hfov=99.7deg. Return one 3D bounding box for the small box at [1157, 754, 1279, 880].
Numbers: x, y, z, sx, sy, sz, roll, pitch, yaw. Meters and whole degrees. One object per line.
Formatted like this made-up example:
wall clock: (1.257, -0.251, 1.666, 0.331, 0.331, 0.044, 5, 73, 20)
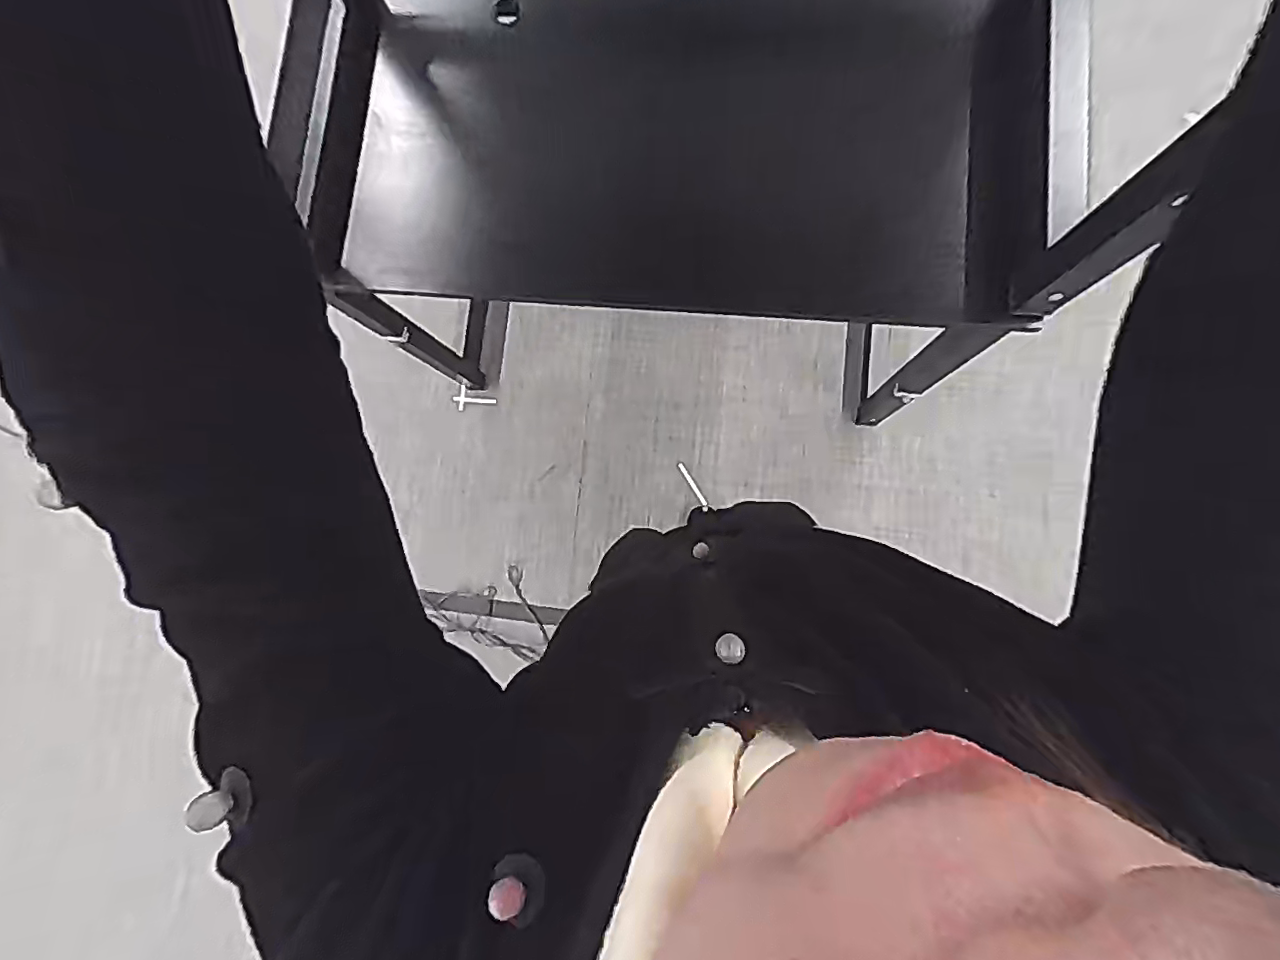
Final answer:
small box: (1.323, 0.753, 1.218, 0.168, 0.176, 0.179, 7, 86, 7)
